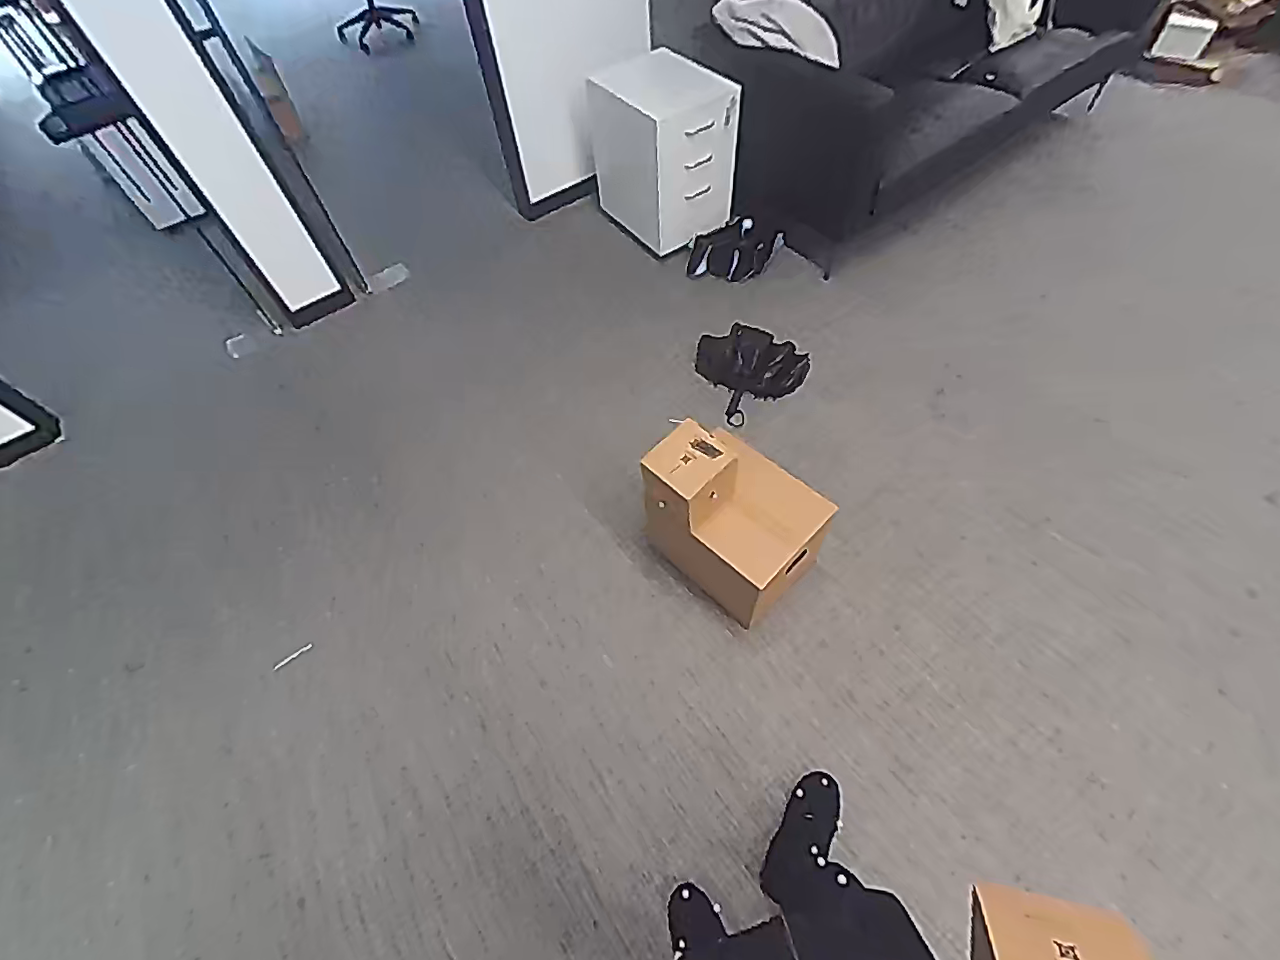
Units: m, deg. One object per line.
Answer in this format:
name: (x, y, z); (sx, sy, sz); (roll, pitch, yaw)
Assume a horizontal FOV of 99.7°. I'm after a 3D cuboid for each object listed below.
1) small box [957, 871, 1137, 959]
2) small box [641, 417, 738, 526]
small box: (0.491, 0.629, 0.646); (0.168, 0.179, 0.176); (2, 95, 19)
small box: (0.125, -0.018, 1.359); (0.179, 0.176, 0.168); (-41, 63, -16)
